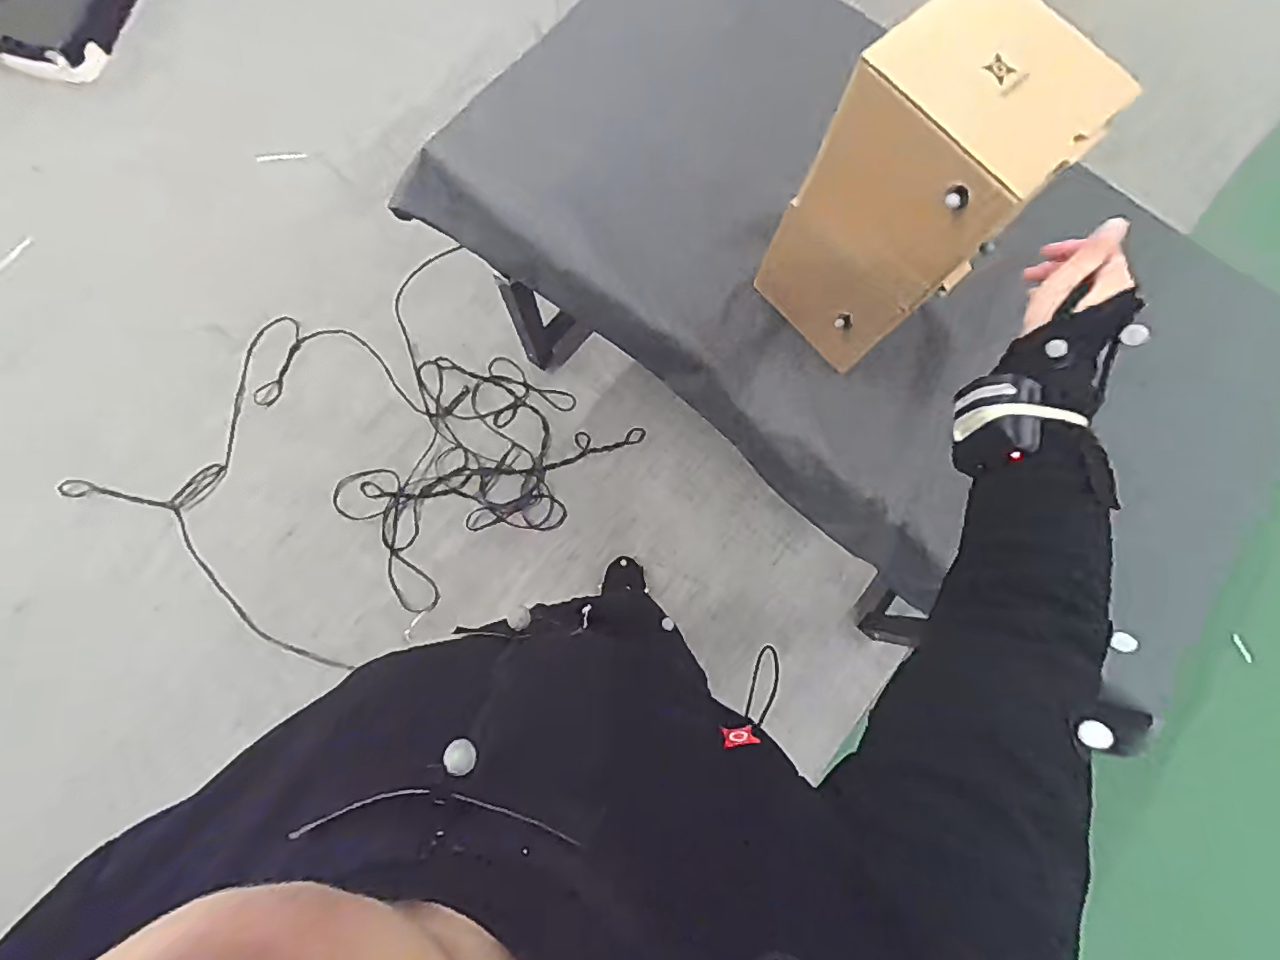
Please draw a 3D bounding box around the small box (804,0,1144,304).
[{"bbox_3d":[0.290,-0.306,0.513,0.168,0.176,0.179,-40,85,-11],"label":"small box"}]

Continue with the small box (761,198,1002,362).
[{"bbox_3d":[0.281,-0.270,0.671,0.168,0.176,0.179,-41,82,-10],"label":"small box"}]
